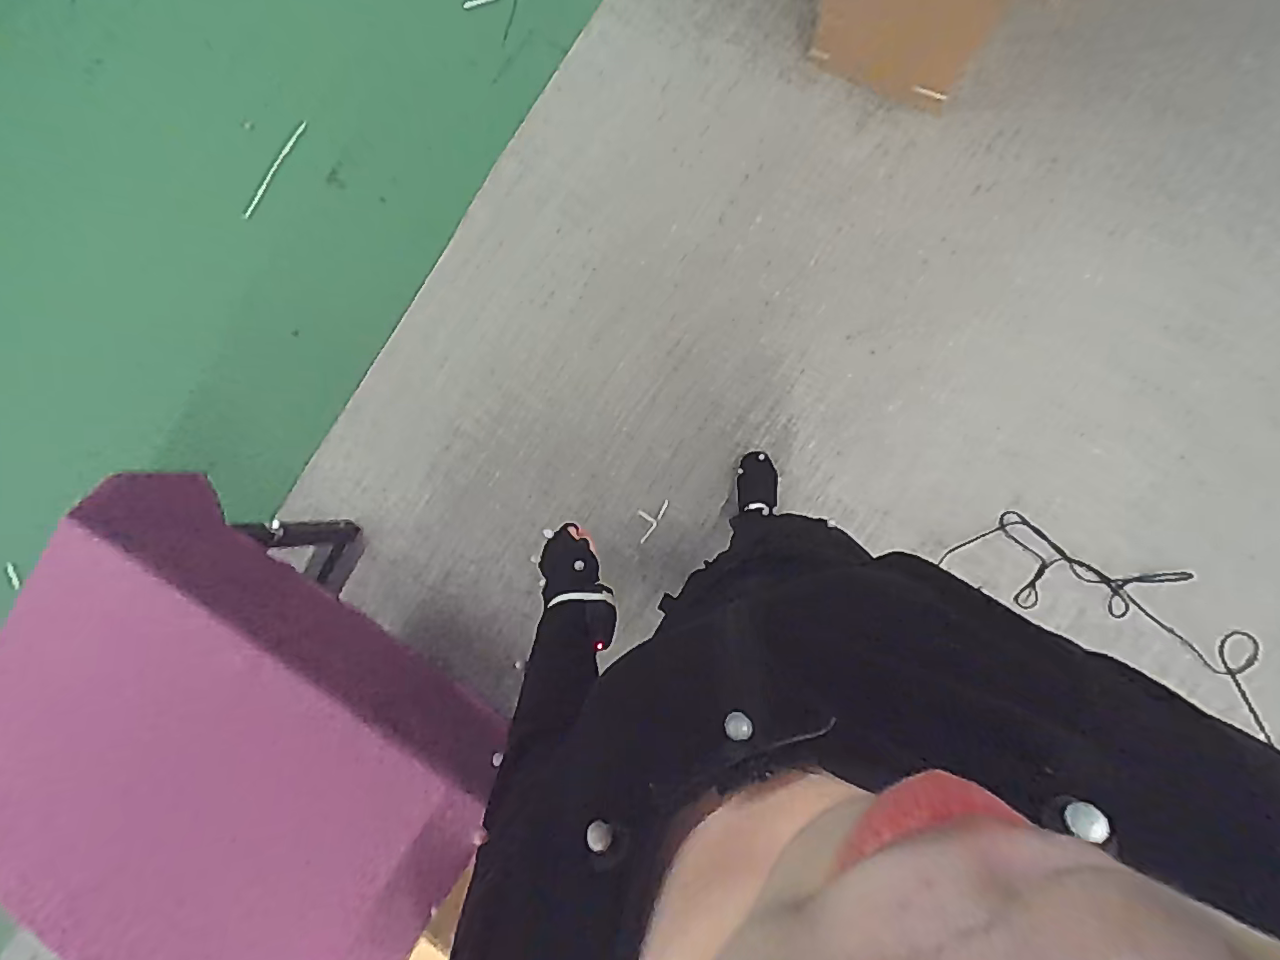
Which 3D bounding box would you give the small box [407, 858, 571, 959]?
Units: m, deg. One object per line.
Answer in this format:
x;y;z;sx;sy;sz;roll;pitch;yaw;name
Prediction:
-0.214;0.652;0.709;0.179;0.176;0.168;30;91;8;small box
